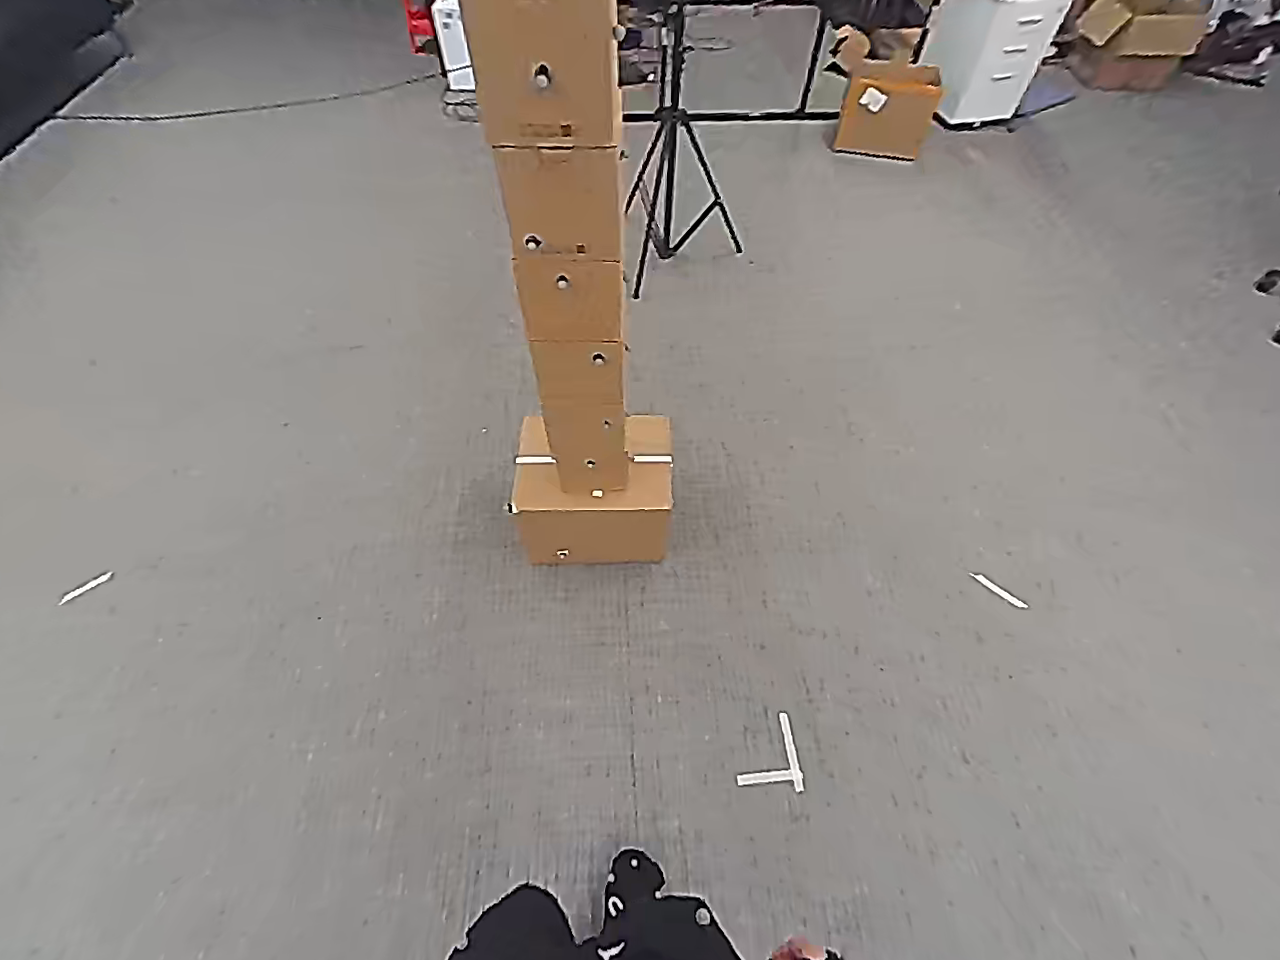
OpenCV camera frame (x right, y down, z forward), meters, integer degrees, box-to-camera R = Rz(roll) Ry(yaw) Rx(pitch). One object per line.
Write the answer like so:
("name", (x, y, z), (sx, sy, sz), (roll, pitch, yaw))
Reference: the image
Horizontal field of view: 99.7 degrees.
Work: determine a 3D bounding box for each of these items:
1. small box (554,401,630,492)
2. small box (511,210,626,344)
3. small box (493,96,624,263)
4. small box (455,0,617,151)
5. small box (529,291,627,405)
("small box", (-0.116, -0.079, 1.357), (0.179, 0.176, 0.168), (-2, 57, -3))
("small box", (-0.114, -0.356, 0.952), (0.179, 0.176, 0.168), (1, 57, 0))
("small box", (-0.110, -0.448, 0.816), (0.168, 0.176, 0.179), (1, 56, 0))
("small box", (-0.115, -0.538, 0.679), (0.168, 0.176, 0.179), (0, 57, -1))
("small box", (-0.116, -0.265, 1.086), (0.179, 0.176, 0.168), (1, 56, 0))
